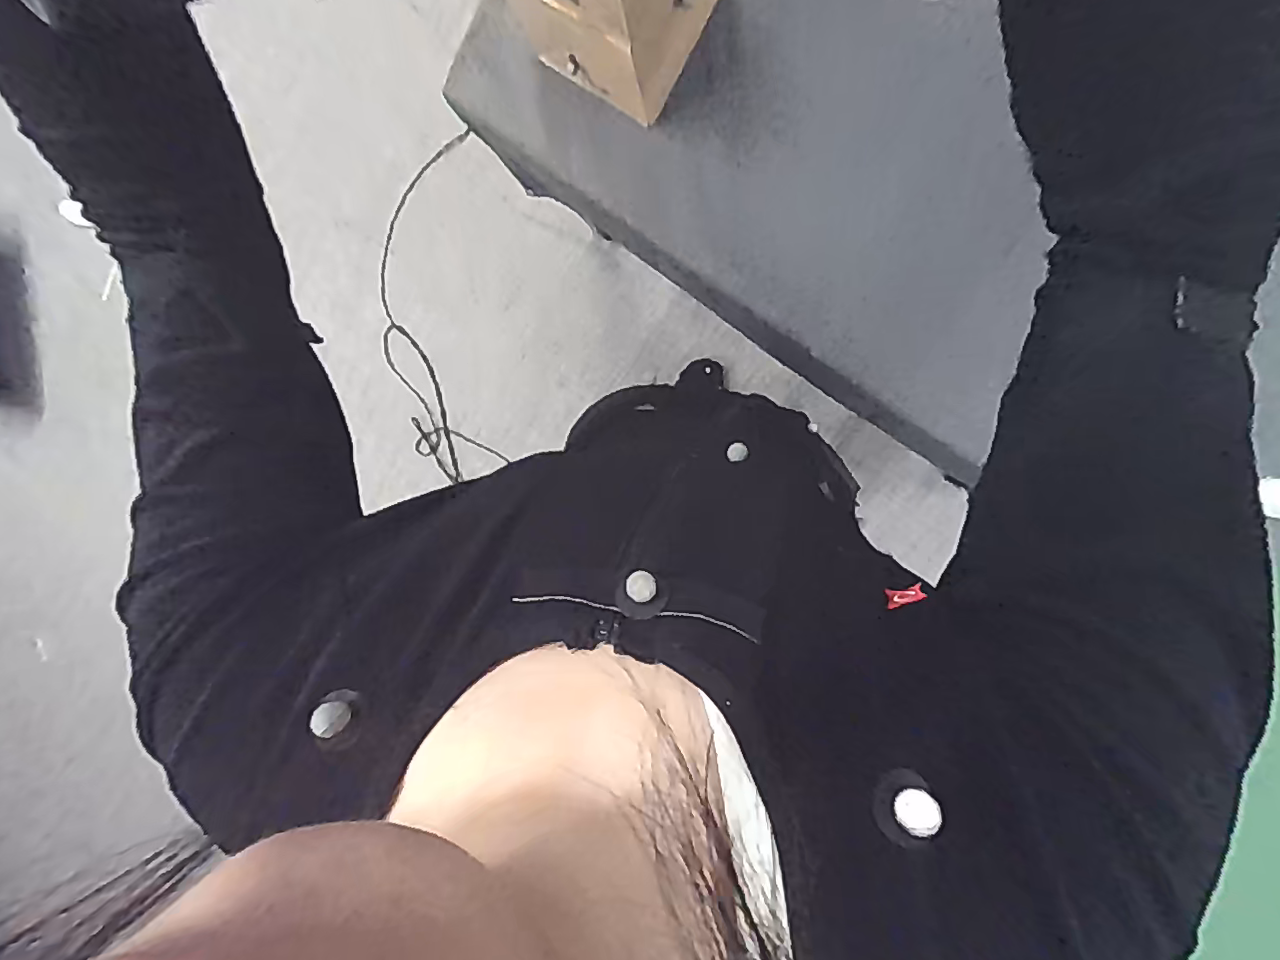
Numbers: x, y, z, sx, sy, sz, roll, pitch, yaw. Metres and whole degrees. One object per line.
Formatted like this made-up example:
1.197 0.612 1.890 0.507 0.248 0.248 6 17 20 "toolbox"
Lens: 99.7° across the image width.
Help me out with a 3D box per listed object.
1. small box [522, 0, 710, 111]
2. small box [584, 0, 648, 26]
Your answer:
-0.022 -0.540 0.561 0.168 0.176 0.179 32 105 -1 "small box"
-0.041 -0.505 0.403 0.168 0.176 0.179 32 104 -1 "small box"
